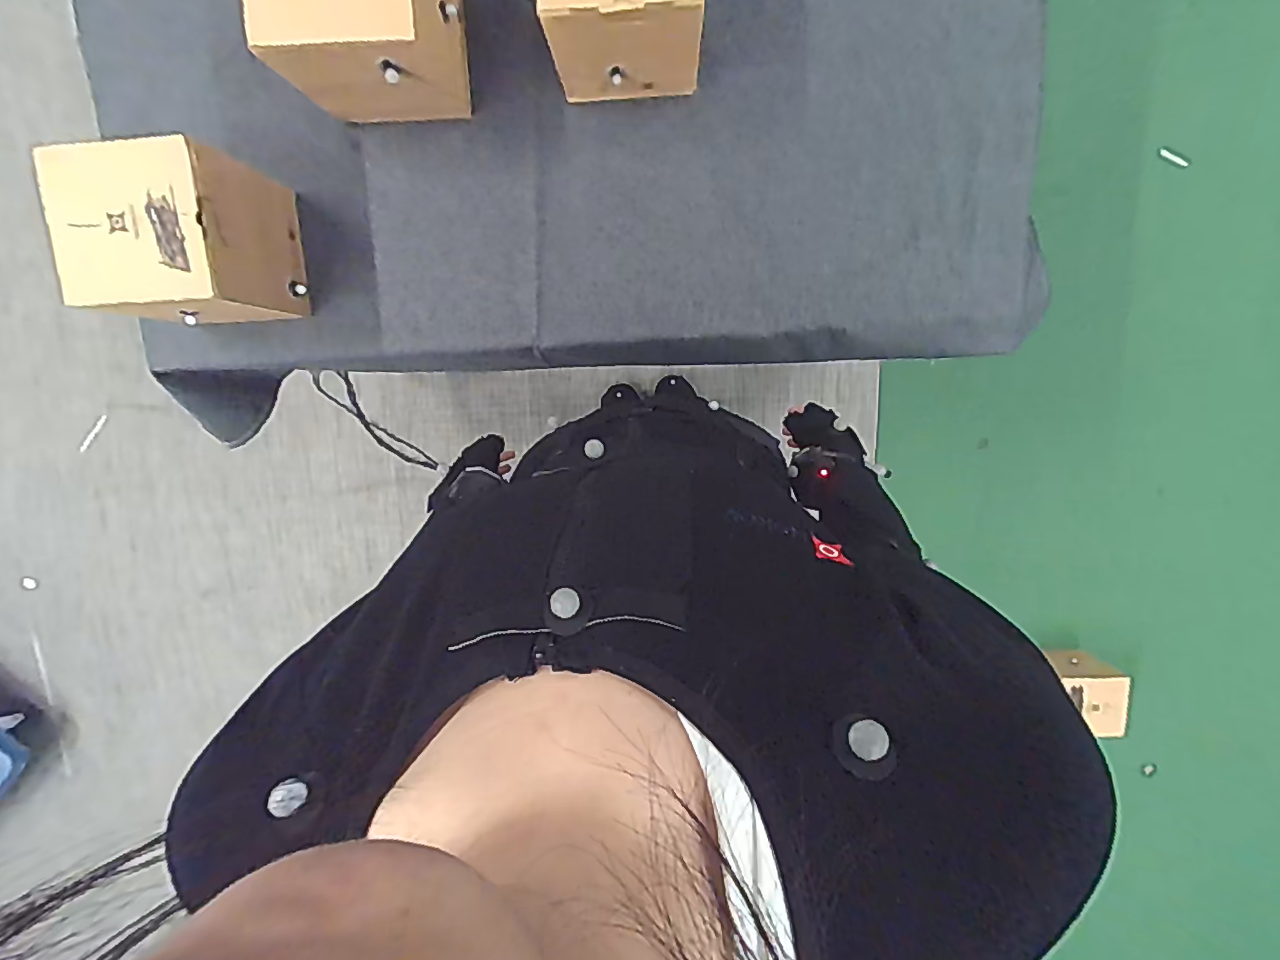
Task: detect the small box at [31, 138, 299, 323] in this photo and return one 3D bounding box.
[{"bbox_3d":[-0.549,-0.288,0.657,0.179,0.176,0.168,-2,99,3],"label":"small box"}]

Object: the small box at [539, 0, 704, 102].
[{"bbox_3d":[-0.020,-0.559,0.597,0.168,0.176,0.179,-2,100,2],"label":"small box"}]

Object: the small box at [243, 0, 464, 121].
[{"bbox_3d":[-0.308,-0.530,0.607,0.179,0.176,0.168,-1,100,2],"label":"small box"}]
